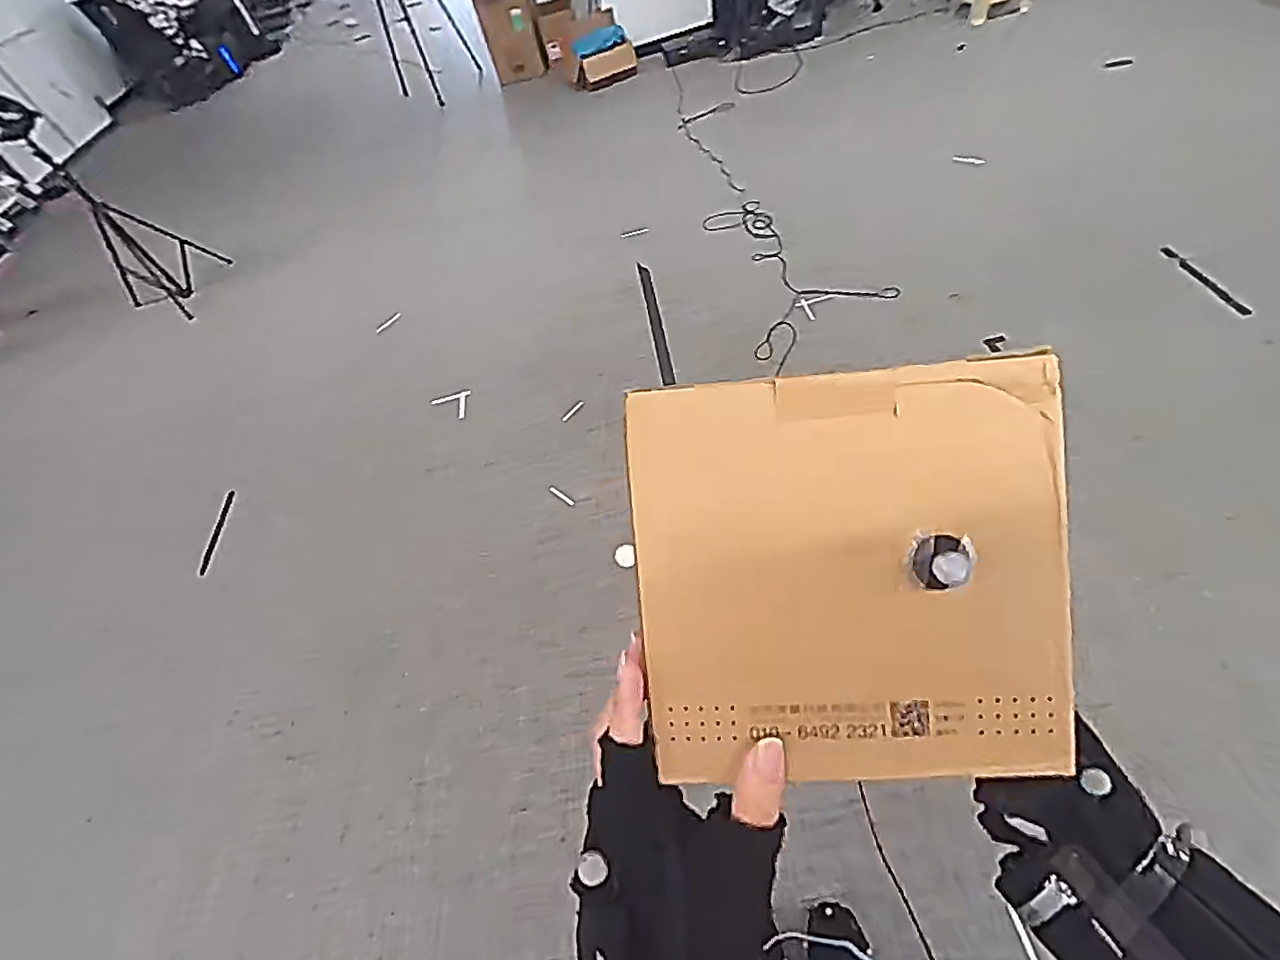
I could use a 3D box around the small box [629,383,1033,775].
[{"bbox_3d":[0.093,0.045,0.312,0.168,0.179,0.176,-4,93,7],"label":"small box"}]
